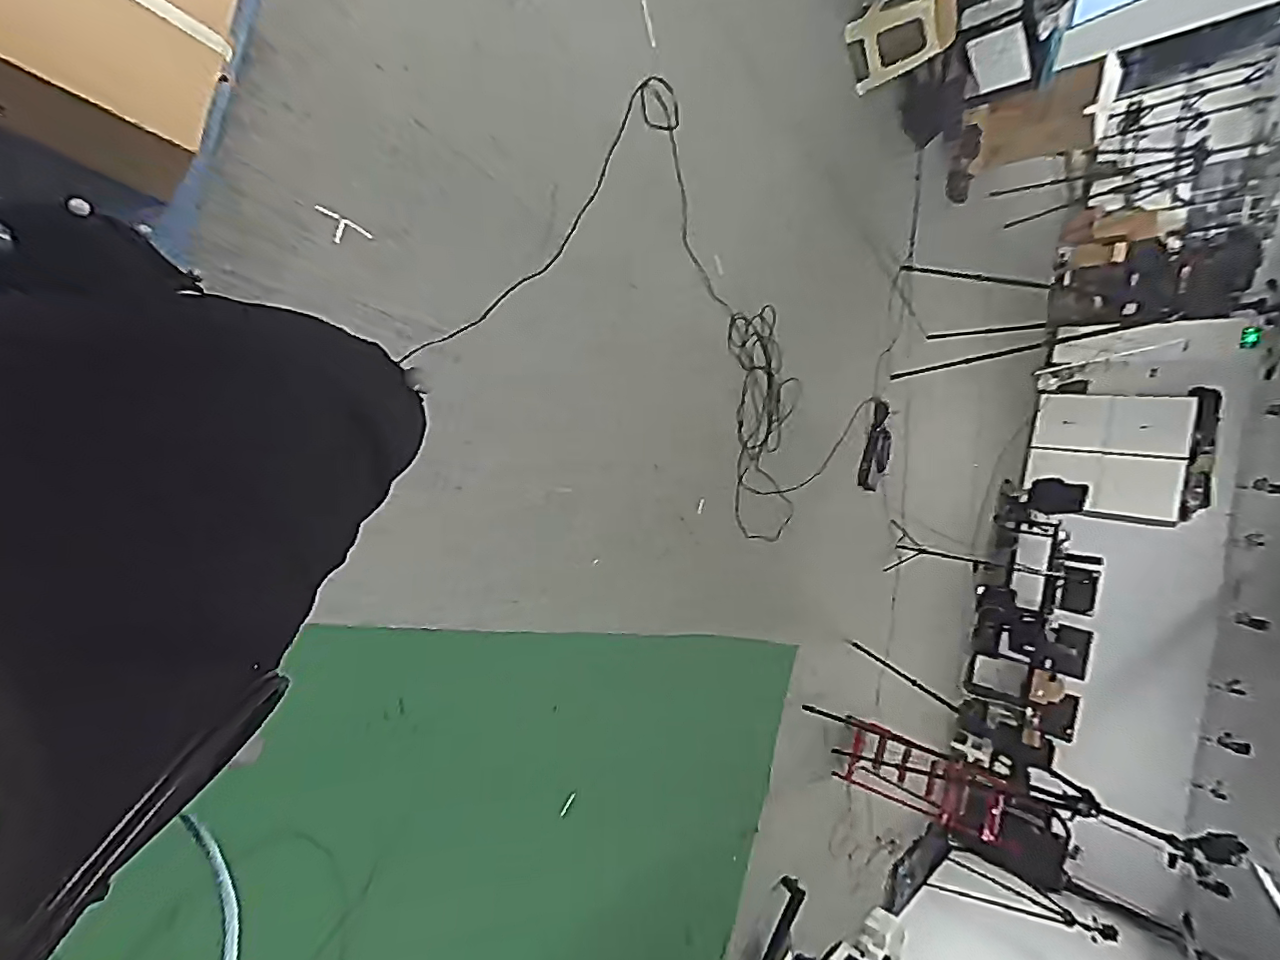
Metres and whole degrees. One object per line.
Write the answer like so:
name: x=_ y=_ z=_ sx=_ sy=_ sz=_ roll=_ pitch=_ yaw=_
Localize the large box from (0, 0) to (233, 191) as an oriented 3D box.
large box: x=-0.834 y=-0.673 z=0.733 sx=0.408 sy=0.320 sz=0.320 roll=15 pitch=85 yaw=-45
